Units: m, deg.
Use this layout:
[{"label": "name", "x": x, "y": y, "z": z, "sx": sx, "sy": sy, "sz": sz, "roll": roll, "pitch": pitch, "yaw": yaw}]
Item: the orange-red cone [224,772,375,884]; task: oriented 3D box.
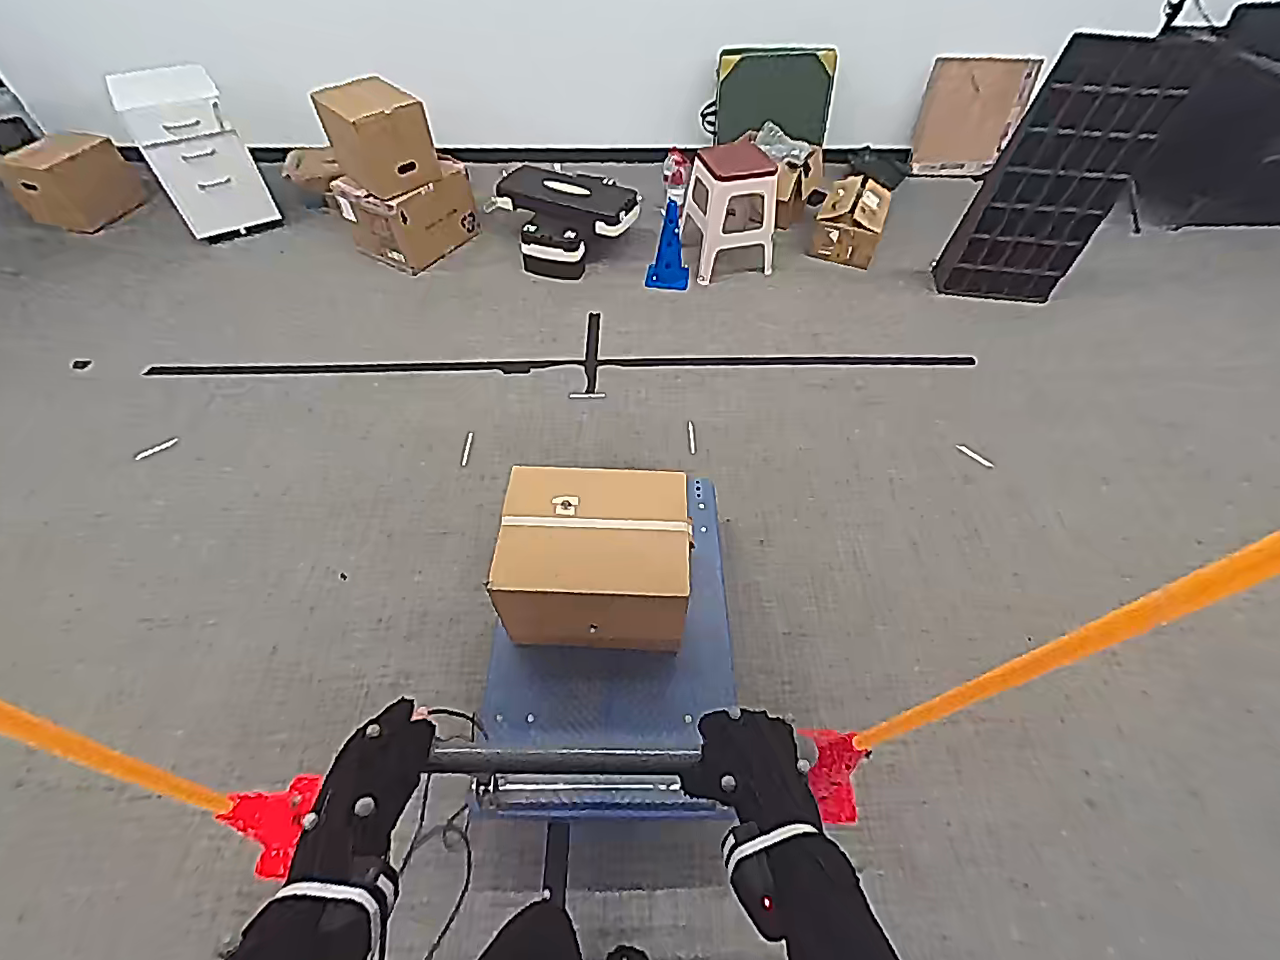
[{"label": "orange-red cone", "x": -0.720, "y": 0.671, "z": 1.088, "sx": 0.198, "sy": 0.360, "sz": 0.199, "roll": 6, "pitch": 51, "yaw": 3}]

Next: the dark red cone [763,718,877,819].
[{"label": "dark red cone", "x": 0.409, "y": 0.584, "z": 1.149, "sx": 0.201, "sy": 0.394, "sz": 0.202, "roll": 1, "pitch": 52, "yaw": -3}]

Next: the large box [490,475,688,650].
[{"label": "large box", "x": -0.098, "y": 0.202, "z": 1.282, "sx": 0.408, "sy": 0.320, "sz": 0.320, "roll": 2, "pitch": 53, "yaw": 1}]
